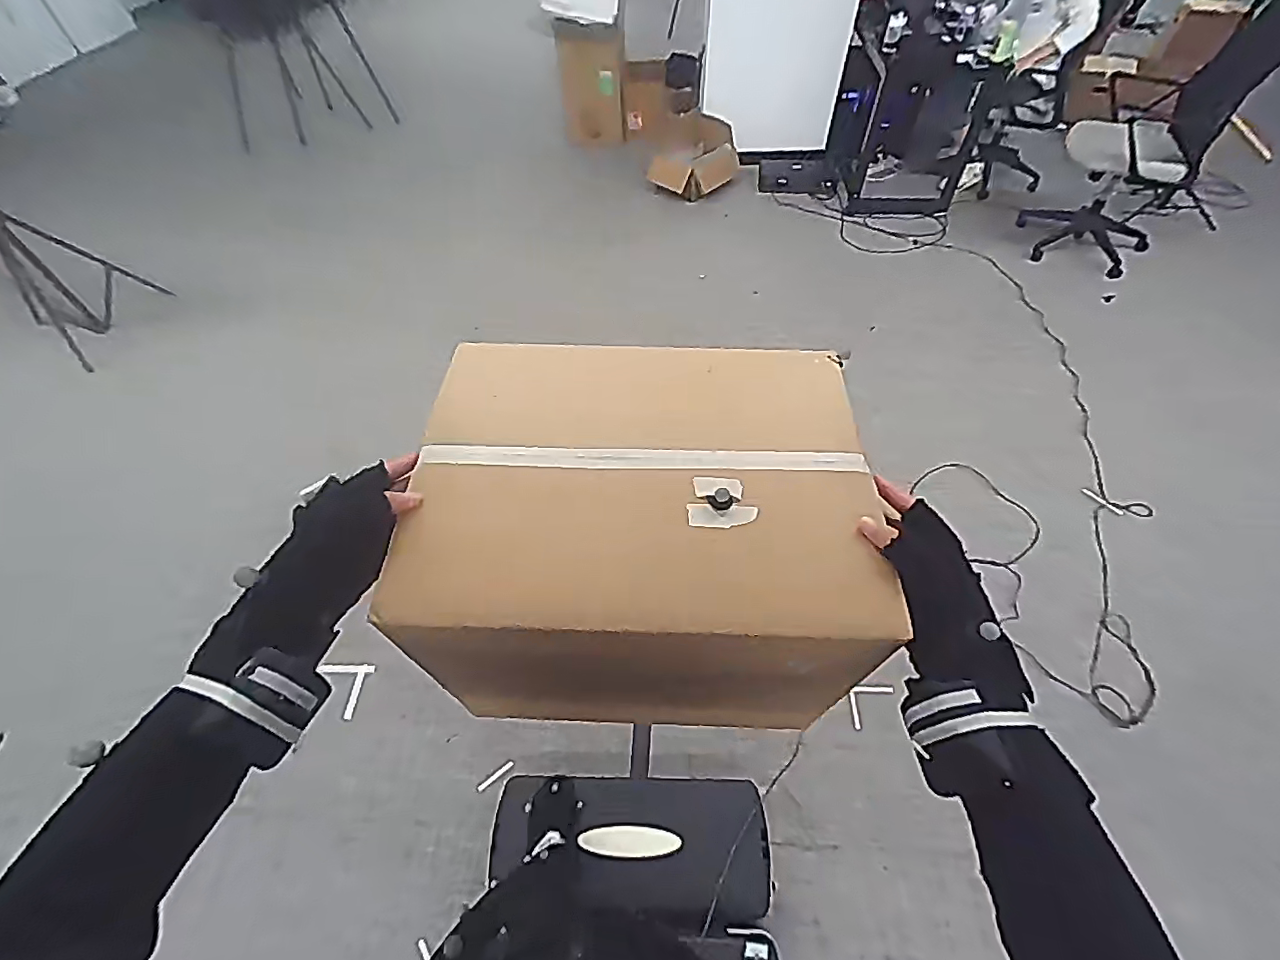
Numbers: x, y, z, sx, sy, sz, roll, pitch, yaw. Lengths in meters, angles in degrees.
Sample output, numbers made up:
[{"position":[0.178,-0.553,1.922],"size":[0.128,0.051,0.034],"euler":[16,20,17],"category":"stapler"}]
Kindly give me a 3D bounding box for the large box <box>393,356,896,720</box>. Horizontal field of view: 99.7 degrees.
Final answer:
[{"position":[0.003,0.079,0.626],"size":[0.408,0.320,0.320],"euler":[2,55,1],"category":"large box"}]

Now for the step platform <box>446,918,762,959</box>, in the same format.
[{"position":[-0.076,1.101,1.116],"size":[0.684,0.204,0.286],"euler":[0,53,3],"category":"step platform"}]
